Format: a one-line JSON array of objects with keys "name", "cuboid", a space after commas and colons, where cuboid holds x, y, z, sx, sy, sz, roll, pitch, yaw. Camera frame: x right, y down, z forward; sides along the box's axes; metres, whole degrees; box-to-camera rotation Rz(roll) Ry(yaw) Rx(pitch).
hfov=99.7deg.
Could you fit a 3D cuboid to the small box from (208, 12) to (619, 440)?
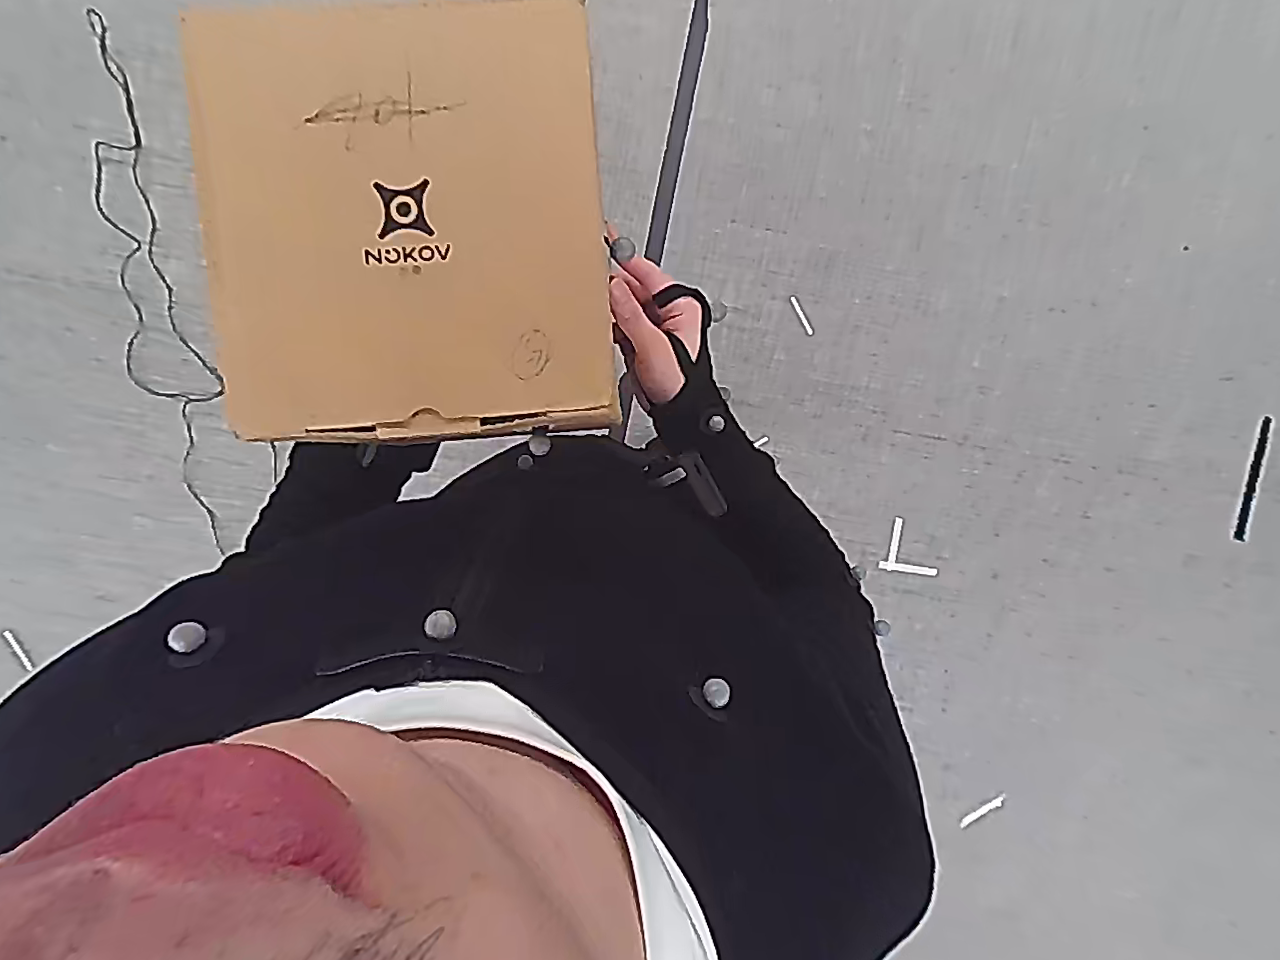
[{"name": "small box", "cuboid": [-0.100, -0.117, 0.319, 0.168, 0.176, 0.179, -5, 93, -2]}]
